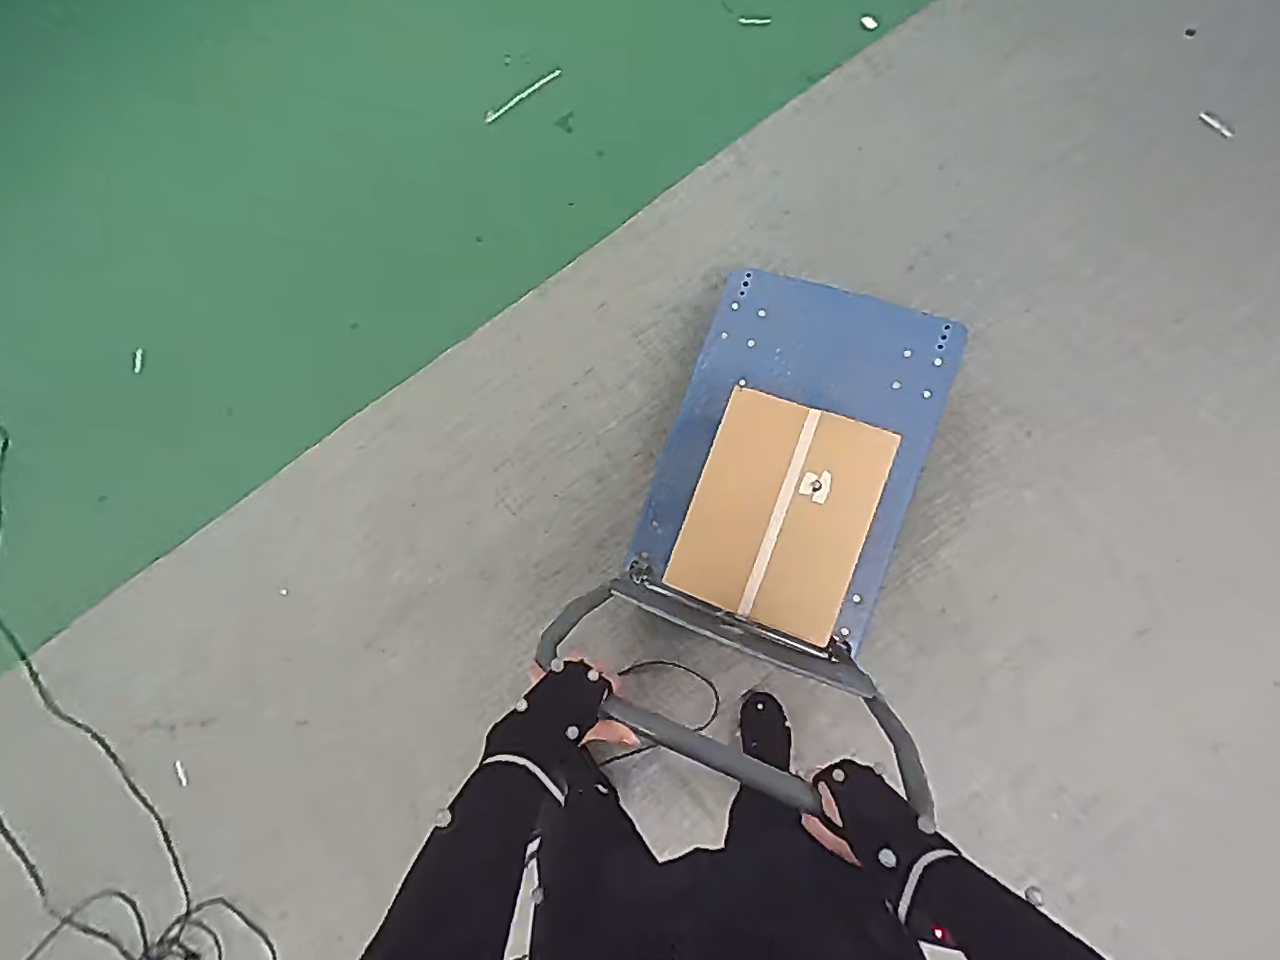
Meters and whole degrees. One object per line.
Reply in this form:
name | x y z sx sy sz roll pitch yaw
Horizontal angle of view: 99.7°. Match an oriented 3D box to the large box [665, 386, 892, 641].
large box | 0.277 0.073 1.134 0.320 0.320 0.408 20 87 11
